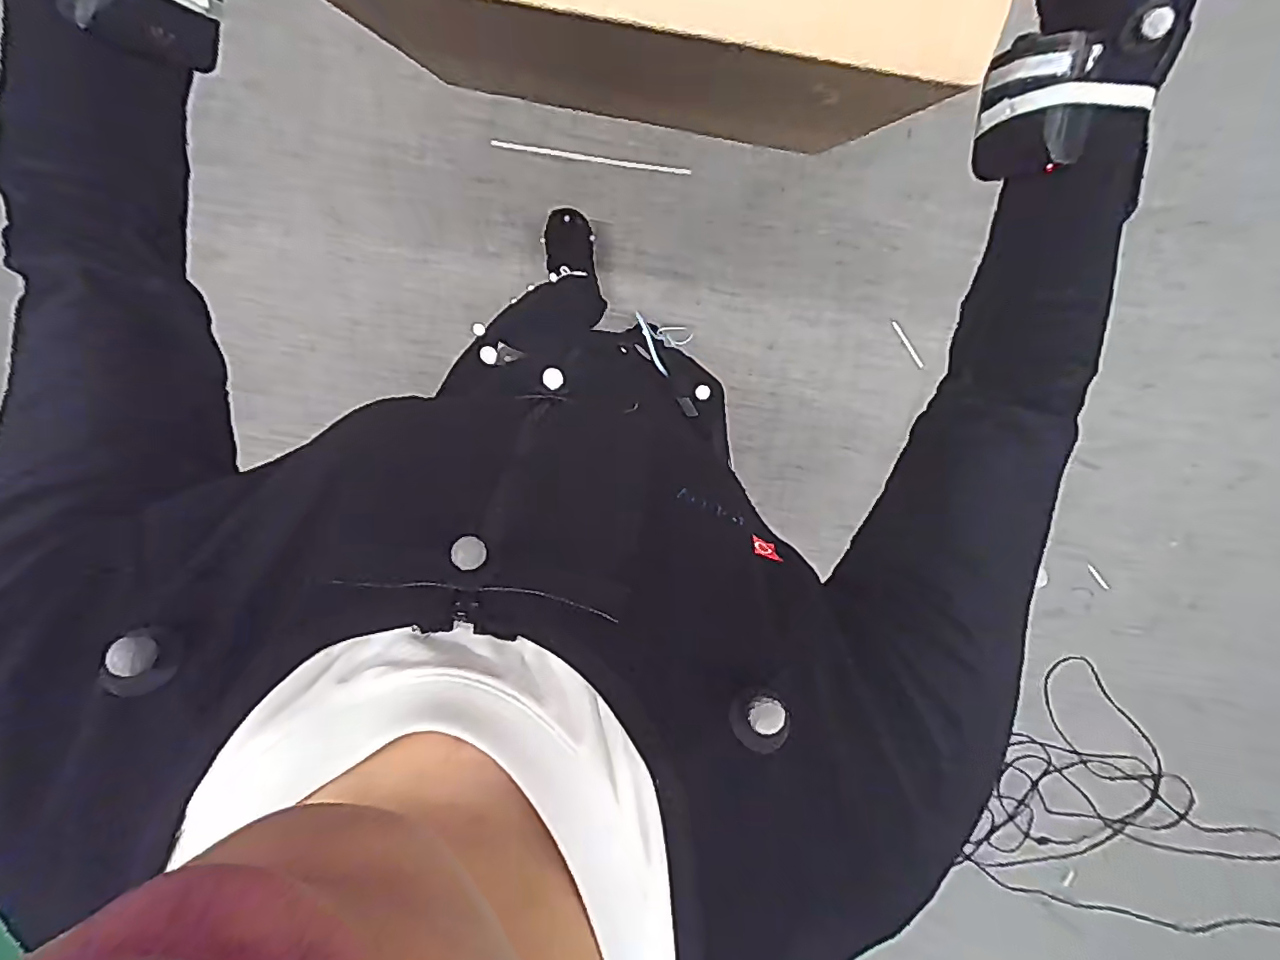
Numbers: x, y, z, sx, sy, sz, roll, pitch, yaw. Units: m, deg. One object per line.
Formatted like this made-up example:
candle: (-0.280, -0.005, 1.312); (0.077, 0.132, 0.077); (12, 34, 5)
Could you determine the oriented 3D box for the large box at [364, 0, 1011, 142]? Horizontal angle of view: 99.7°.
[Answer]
large box: (0.024, -0.461, 0.372); (0.408, 0.320, 0.320); (8, 115, -4)
